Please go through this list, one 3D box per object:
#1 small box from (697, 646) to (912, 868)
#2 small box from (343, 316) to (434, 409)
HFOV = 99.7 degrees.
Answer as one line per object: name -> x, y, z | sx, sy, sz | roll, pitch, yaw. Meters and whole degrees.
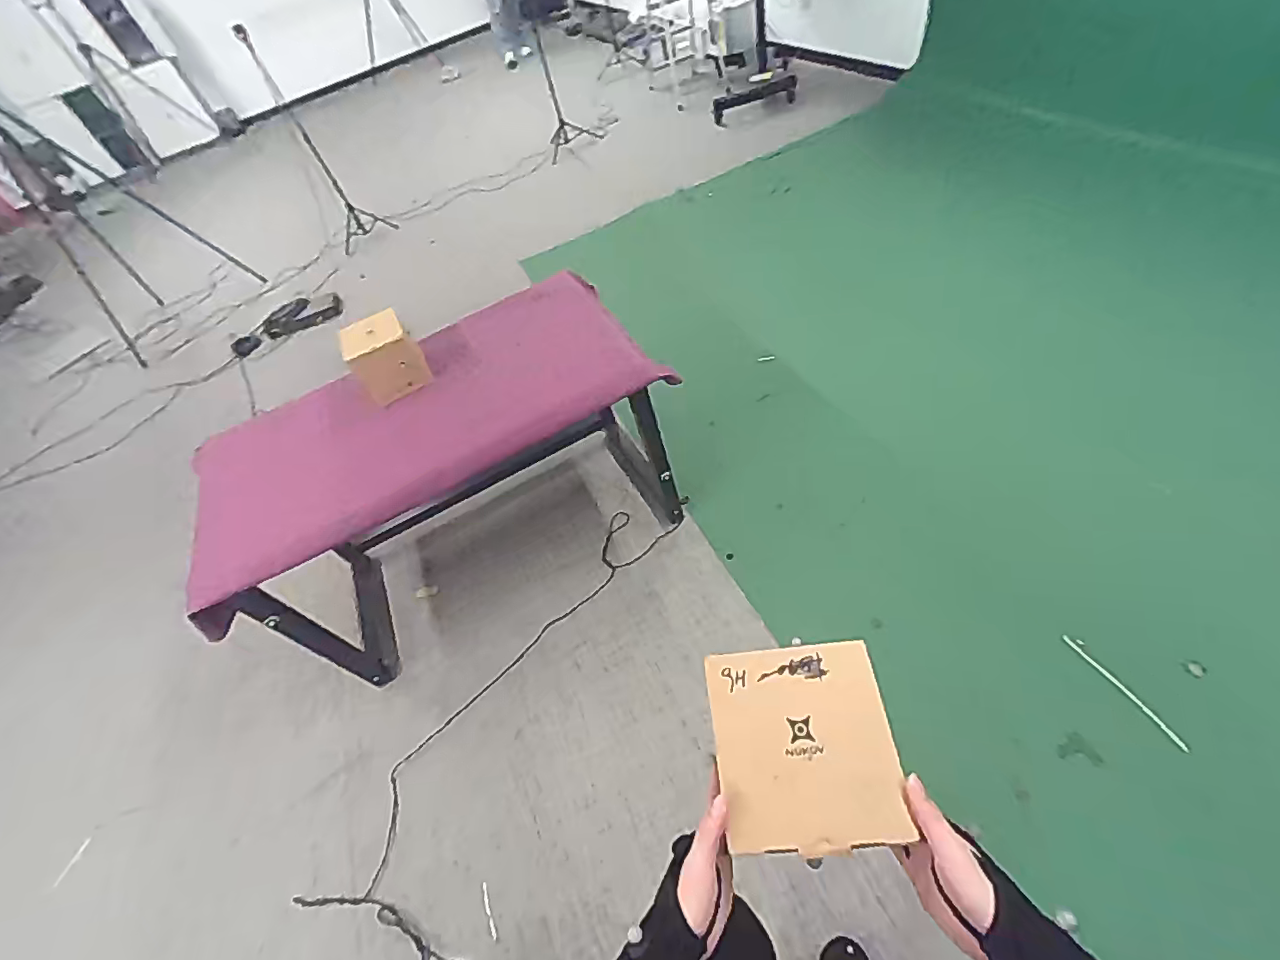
small box -> 0.158, 0.292, 0.574 | 0.168, 0.176, 0.179 | -9, 57, 5
small box -> -0.712, -0.327, 1.540 | 0.168, 0.176, 0.179 | -28, 50, -8
